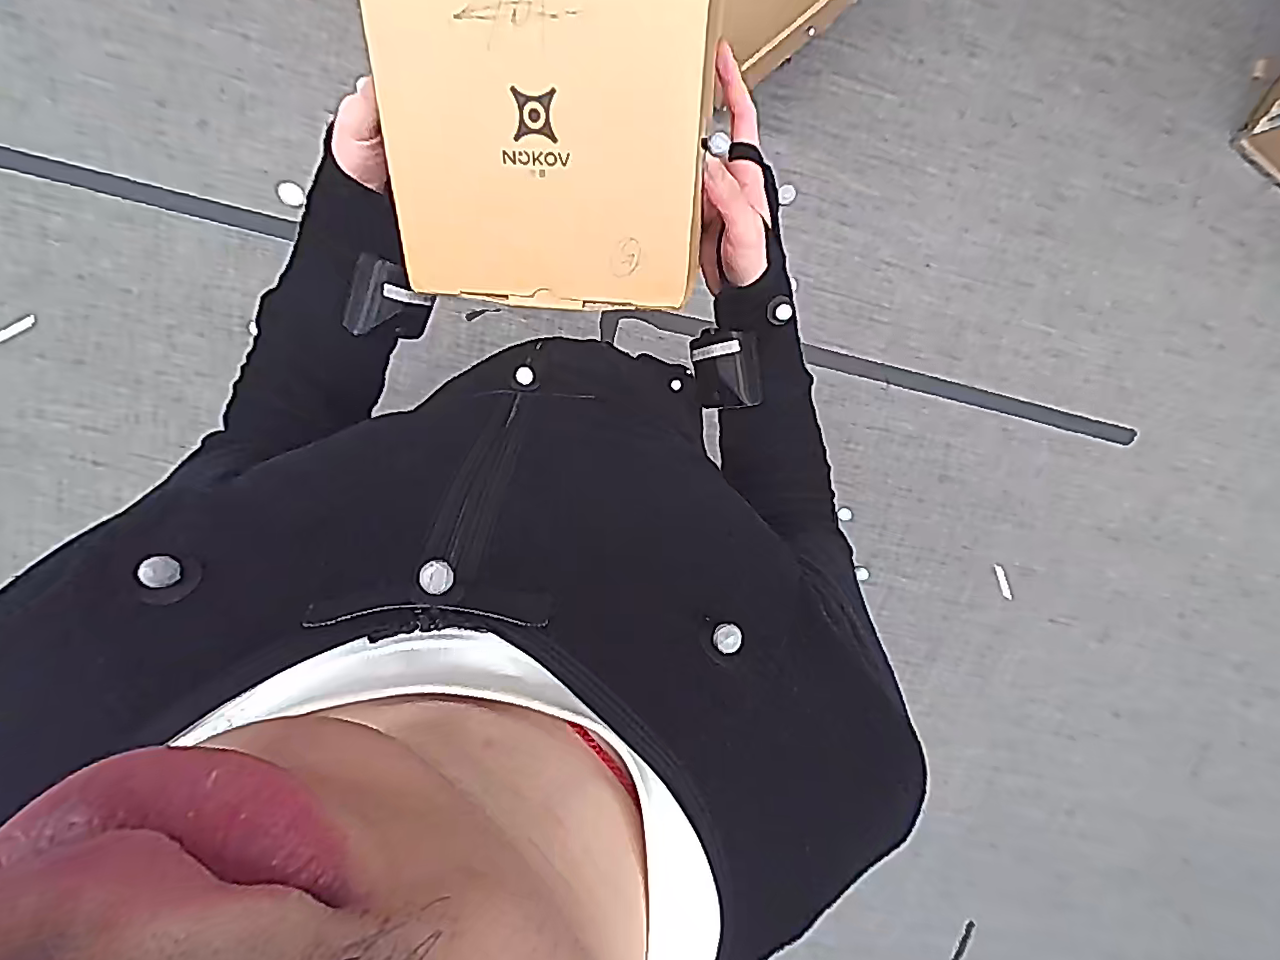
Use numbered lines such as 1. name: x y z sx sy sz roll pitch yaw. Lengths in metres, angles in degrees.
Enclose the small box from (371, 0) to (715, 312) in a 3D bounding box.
1. small box: -0.042 -0.221 0.352 0.168 0.176 0.179 6 119 5
